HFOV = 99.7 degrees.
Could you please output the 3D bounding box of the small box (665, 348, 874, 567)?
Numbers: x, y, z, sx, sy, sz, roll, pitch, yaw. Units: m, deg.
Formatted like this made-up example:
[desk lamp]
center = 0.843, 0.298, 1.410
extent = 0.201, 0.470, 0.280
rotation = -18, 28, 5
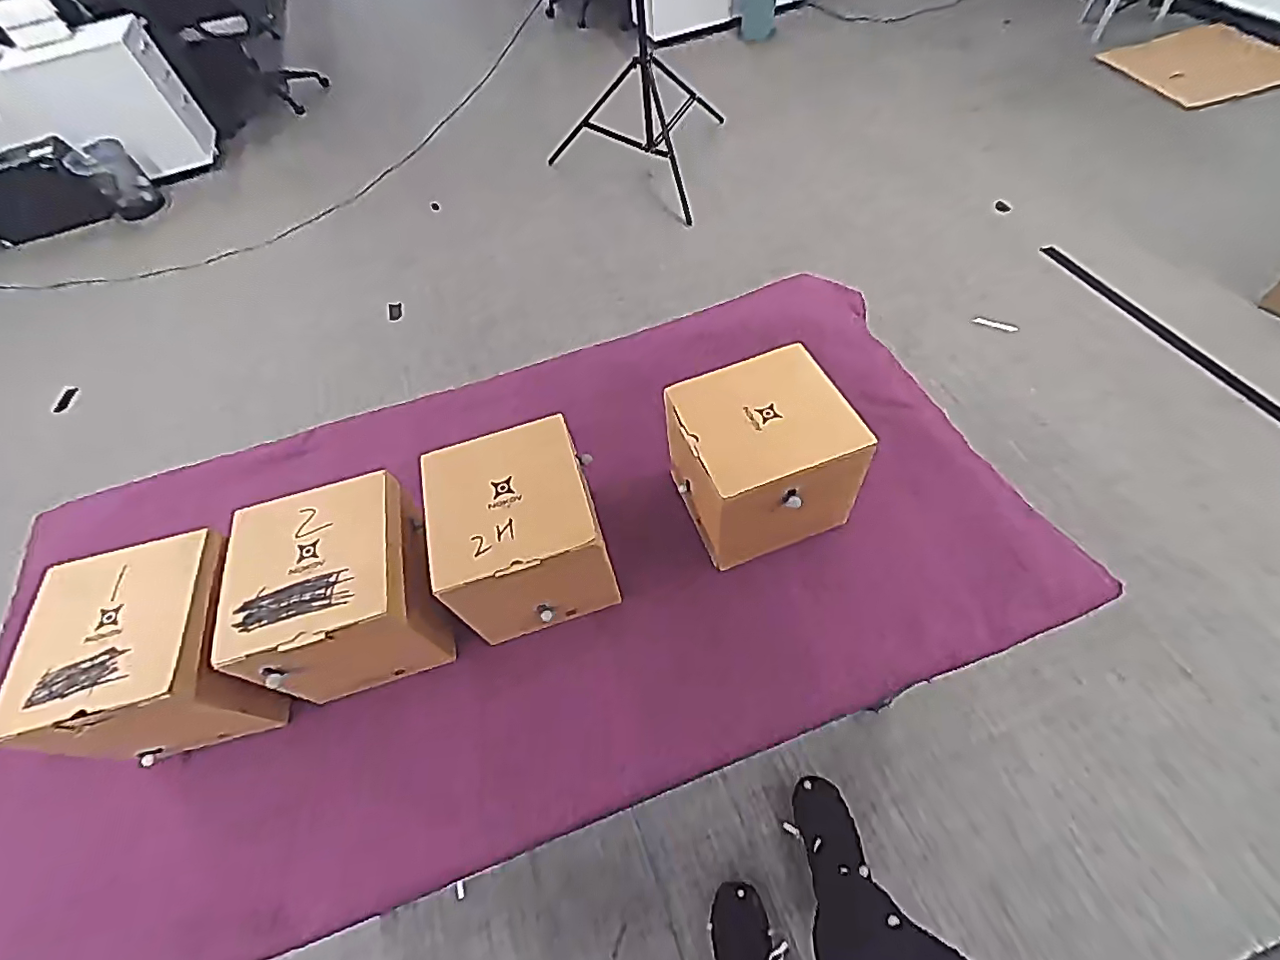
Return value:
[small box]
center = 0.142, -0.022, 0.650
extent = 0.179, 0.176, 0.168
rotation = -20, 56, -5
